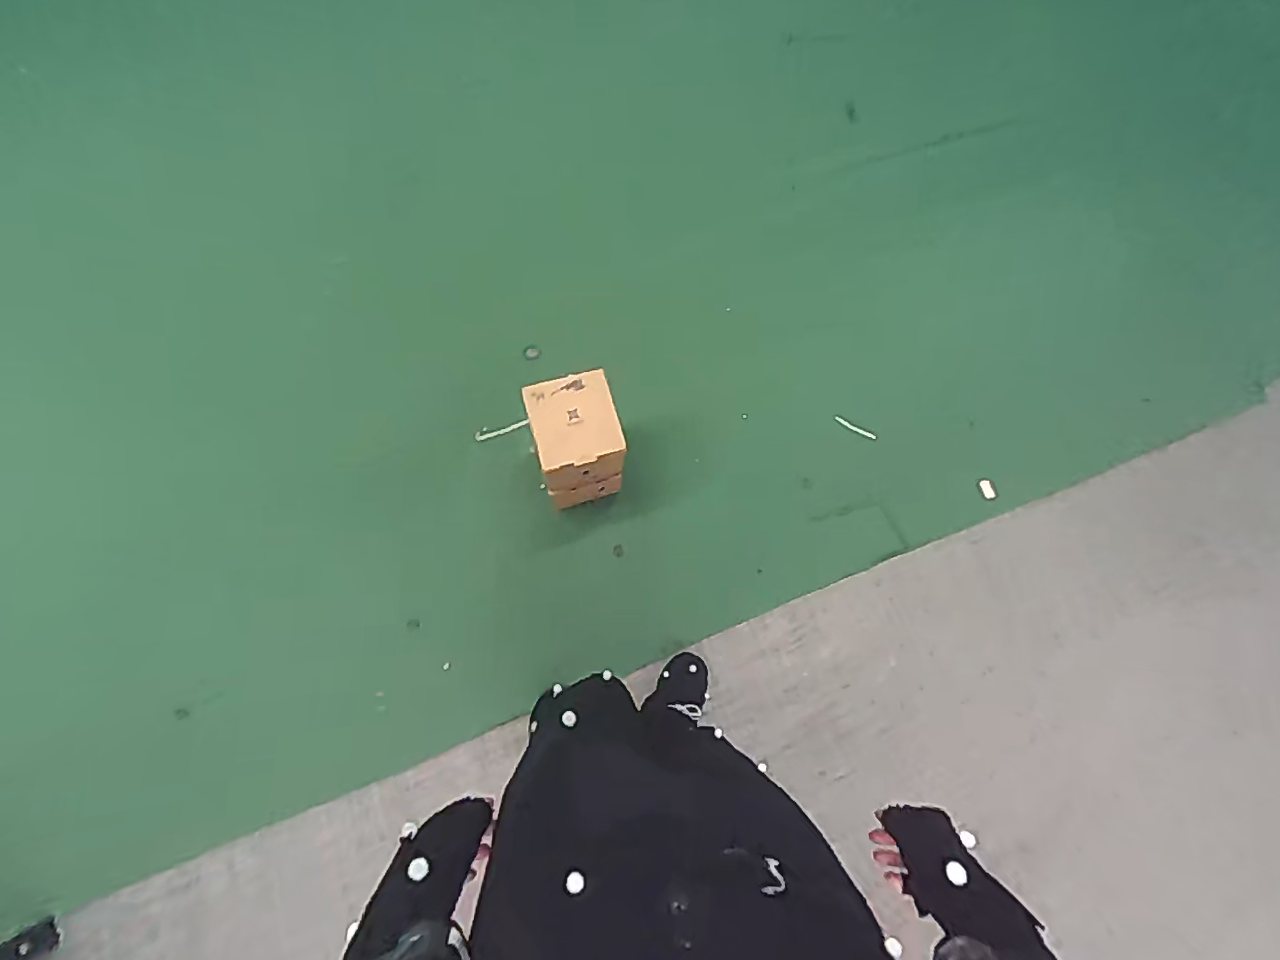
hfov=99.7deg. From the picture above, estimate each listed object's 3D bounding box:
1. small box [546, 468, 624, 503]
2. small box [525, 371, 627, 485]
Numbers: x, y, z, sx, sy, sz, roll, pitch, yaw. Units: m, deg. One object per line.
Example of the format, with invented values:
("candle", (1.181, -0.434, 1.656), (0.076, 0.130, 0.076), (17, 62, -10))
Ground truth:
("small box", (-0.140, -0.052, 1.248), (0.168, 0.176, 0.179), (-14, 78, -10))
("small box", (-0.129, -0.097, 1.110), (0.168, 0.176, 0.179), (-15, 79, -9))
